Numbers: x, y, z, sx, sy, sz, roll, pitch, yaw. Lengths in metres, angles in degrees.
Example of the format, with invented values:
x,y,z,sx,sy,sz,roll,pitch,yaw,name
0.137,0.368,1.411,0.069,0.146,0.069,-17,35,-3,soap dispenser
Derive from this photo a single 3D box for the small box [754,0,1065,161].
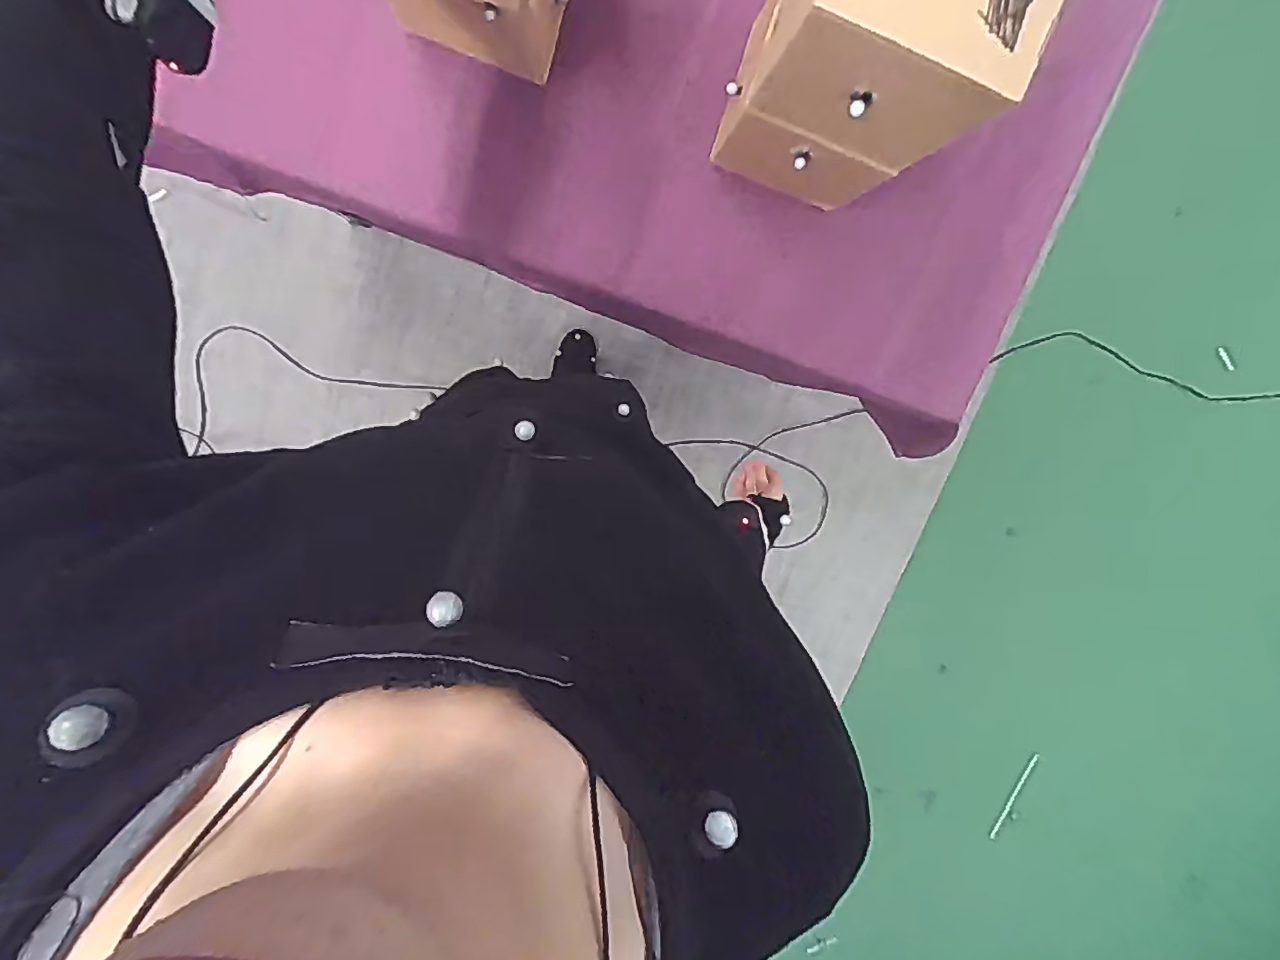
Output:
x,y,z,sx,sy,sz,roll,pitch,yaw,name
0.221,-0.397,0.451,0.179,0.176,0.168,17,102,-8,small box

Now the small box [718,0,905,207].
x,y,z,sx,sy,sz,roll,pitch,yaw,name
0.206,-0.434,0.610,0.179,0.176,0.168,17,102,-10,small box

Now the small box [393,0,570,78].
x,y,z,sx,sy,sz,roll,pitch,yaw,name
-0.162,-0.556,0.547,0.179,0.176,0.168,16,101,-10,small box
